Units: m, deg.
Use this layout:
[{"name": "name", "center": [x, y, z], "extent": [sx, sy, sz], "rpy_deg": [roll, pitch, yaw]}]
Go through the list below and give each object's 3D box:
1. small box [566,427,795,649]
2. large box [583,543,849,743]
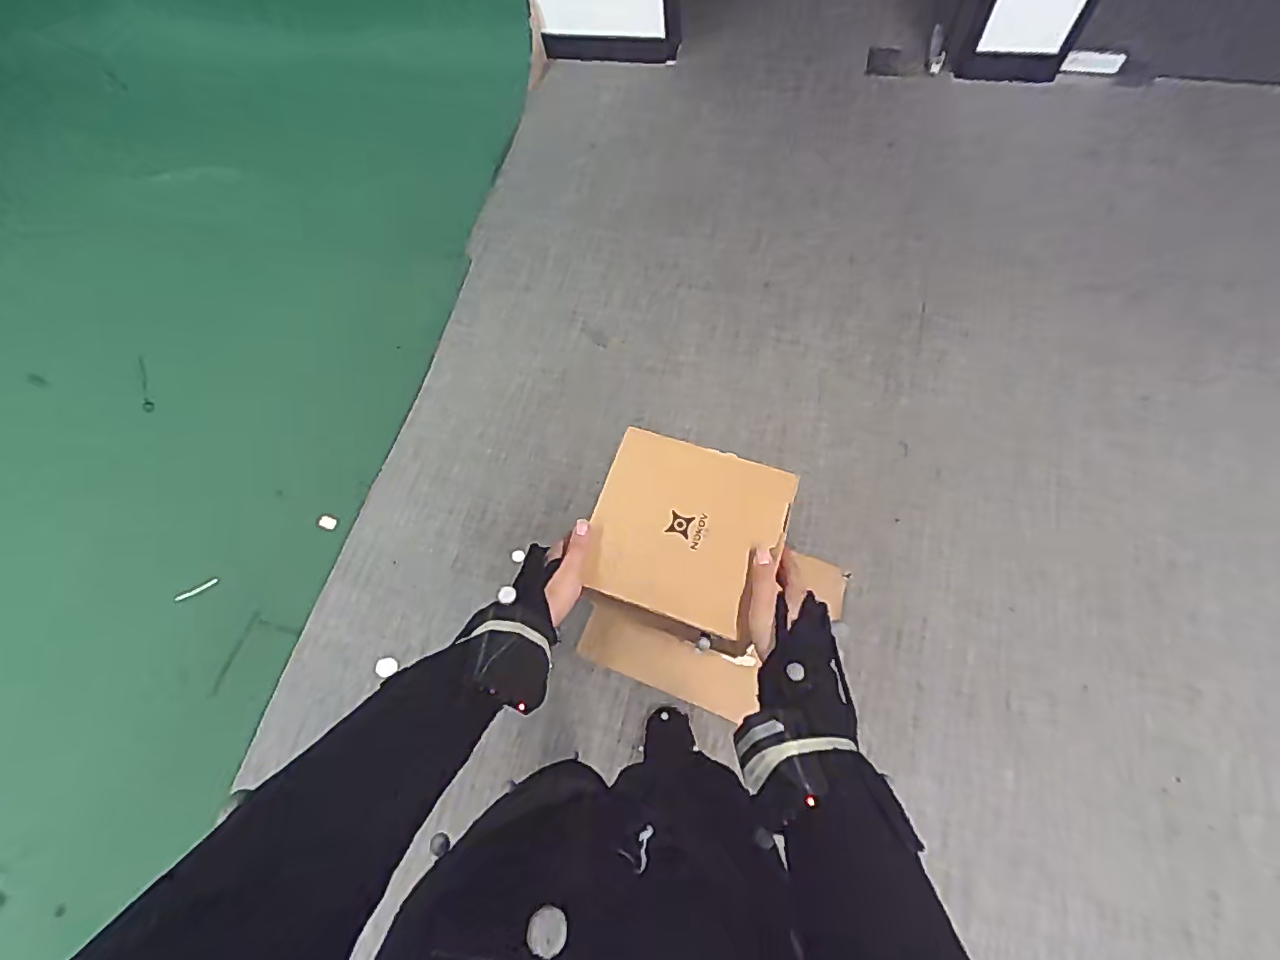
[{"name": "small box", "center": [0.046, 0.070, 0.574], "extent": [0.179, 0.176, 0.168], "rpy_deg": [17, 71, 11]}, {"name": "large box", "center": [0.147, 0.284, 1.093], "extent": [0.408, 0.320, 0.320], "rpy_deg": [19, 74, 13]}]
